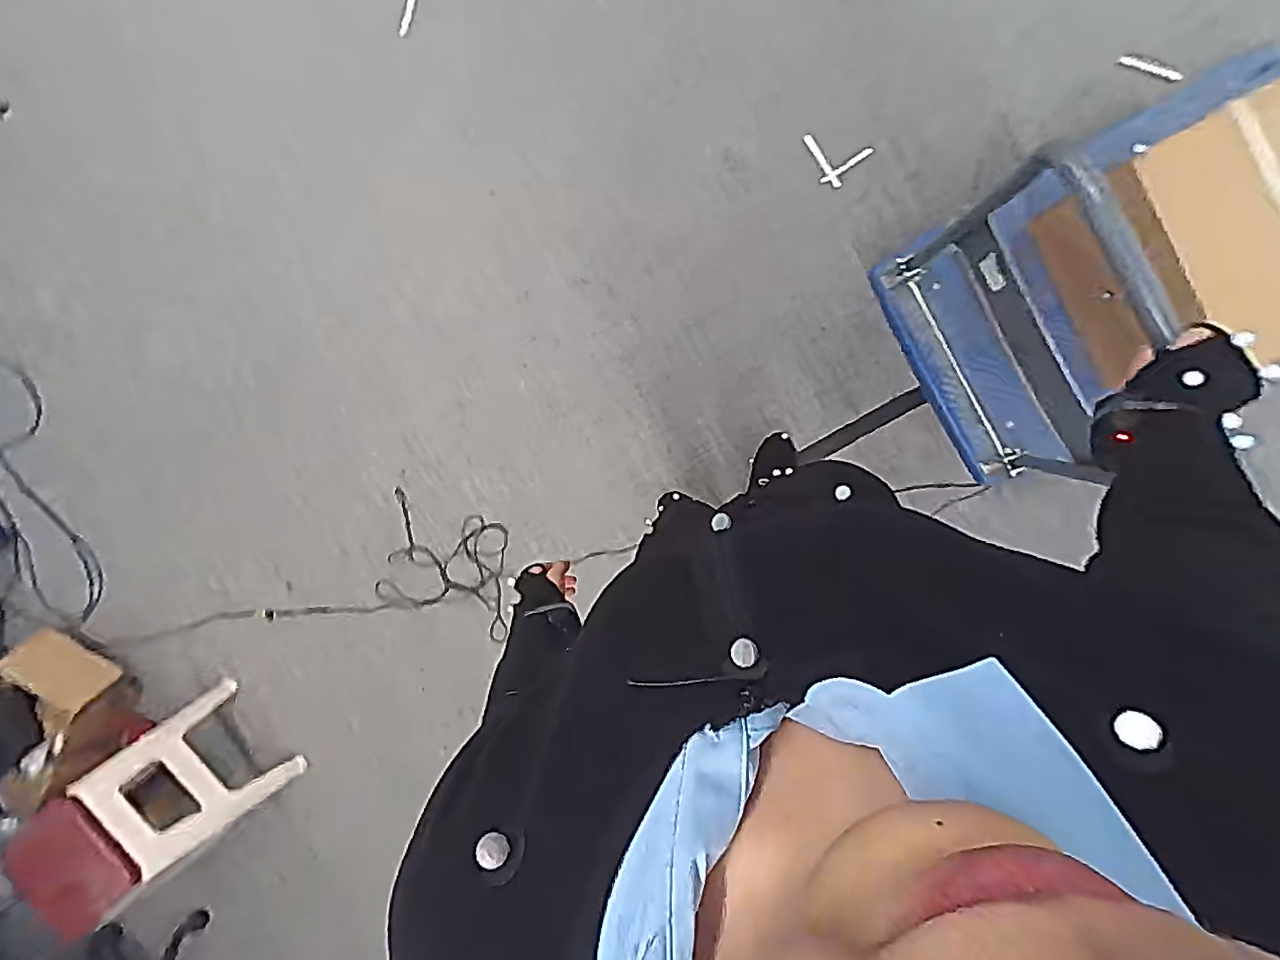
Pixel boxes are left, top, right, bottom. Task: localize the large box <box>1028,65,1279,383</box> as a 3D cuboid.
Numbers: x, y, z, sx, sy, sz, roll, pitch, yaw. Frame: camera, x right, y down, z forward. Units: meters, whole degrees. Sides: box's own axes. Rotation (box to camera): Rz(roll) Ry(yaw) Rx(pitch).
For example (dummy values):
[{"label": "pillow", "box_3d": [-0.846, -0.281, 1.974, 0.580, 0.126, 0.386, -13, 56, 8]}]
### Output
[{"label": "large box", "box_3d": [1.029, -0.436, 0.991, 0.320, 0.320, 0.408, -27, 90, 9]}]
